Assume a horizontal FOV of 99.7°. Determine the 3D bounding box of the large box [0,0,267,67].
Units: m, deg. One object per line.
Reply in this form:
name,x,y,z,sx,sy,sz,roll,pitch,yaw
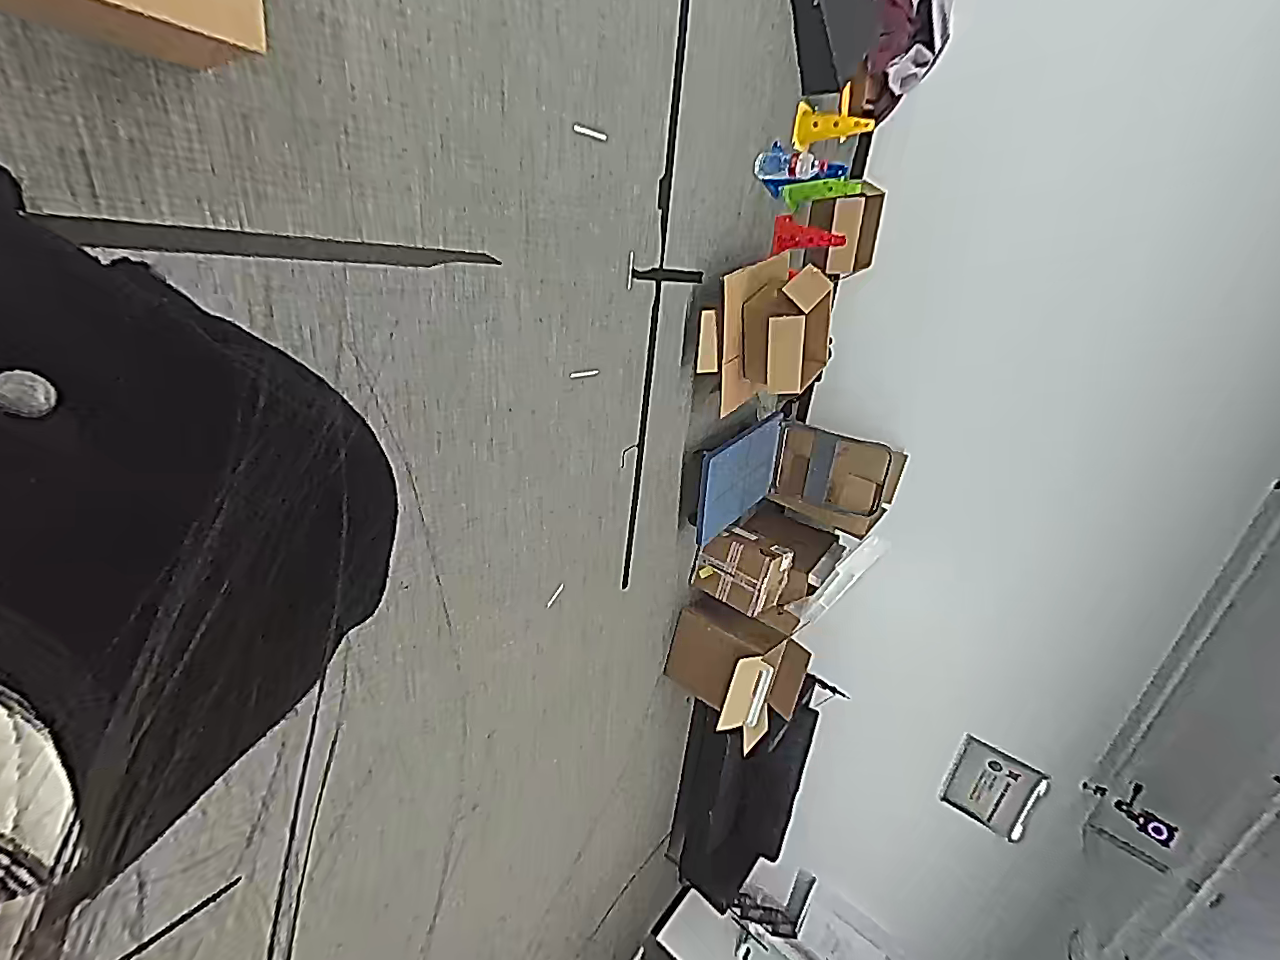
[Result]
large box,-0.821,-0.831,0.744,0.408,0.320,0.320,-20,125,-50
